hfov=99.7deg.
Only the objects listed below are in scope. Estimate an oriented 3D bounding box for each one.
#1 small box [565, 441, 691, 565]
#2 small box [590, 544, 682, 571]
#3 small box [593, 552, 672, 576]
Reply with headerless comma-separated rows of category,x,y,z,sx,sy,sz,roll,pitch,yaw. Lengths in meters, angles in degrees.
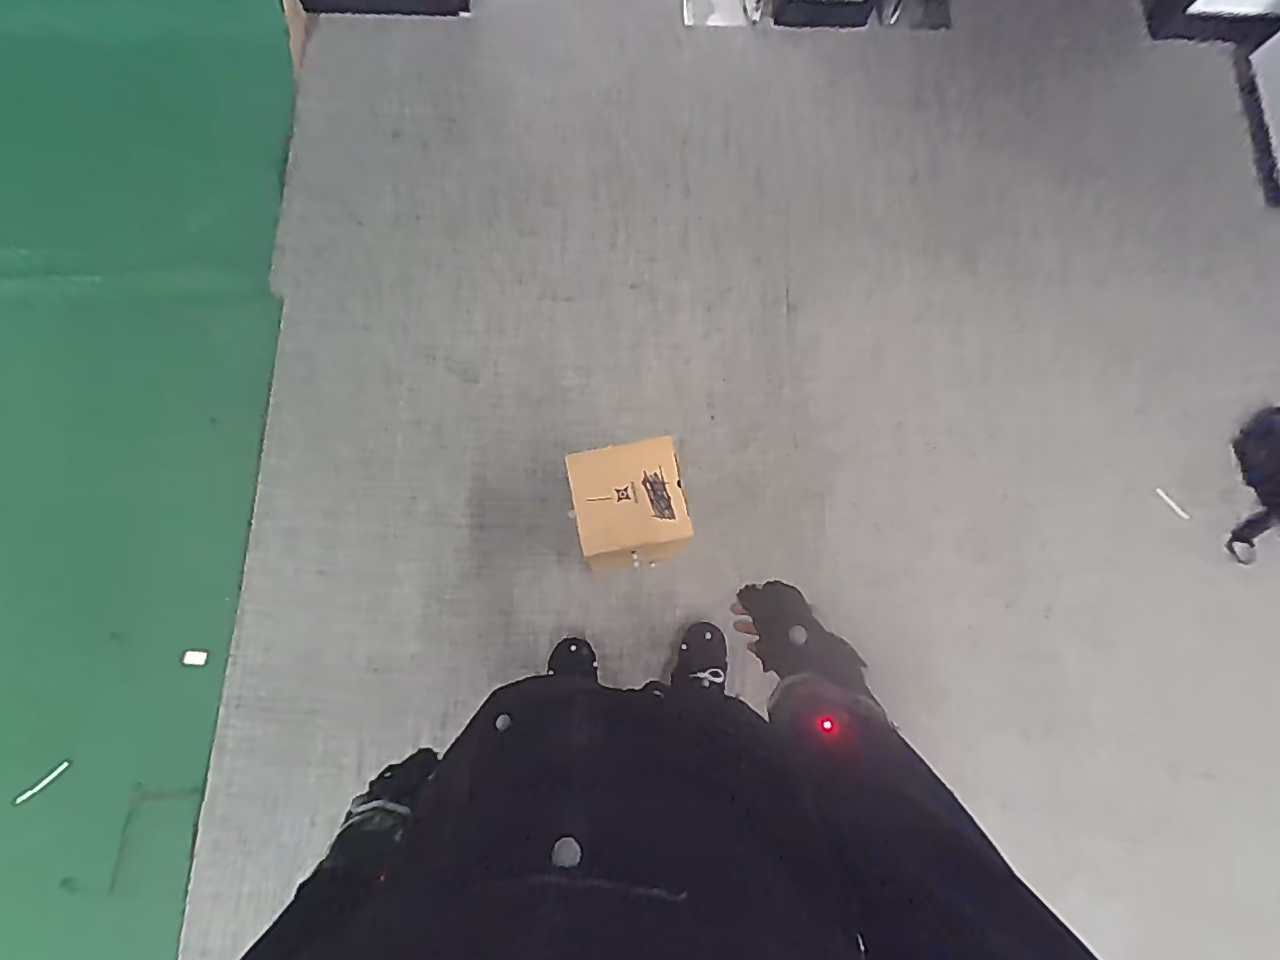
small box,-0.023,0.046,0.926,0.179,0.176,0.168,-11,77,-3
small box,-0.028,0.083,1.089,0.179,0.176,0.168,-14,79,-4
small box,-0.033,0.121,1.246,0.179,0.176,0.168,-13,77,-3
